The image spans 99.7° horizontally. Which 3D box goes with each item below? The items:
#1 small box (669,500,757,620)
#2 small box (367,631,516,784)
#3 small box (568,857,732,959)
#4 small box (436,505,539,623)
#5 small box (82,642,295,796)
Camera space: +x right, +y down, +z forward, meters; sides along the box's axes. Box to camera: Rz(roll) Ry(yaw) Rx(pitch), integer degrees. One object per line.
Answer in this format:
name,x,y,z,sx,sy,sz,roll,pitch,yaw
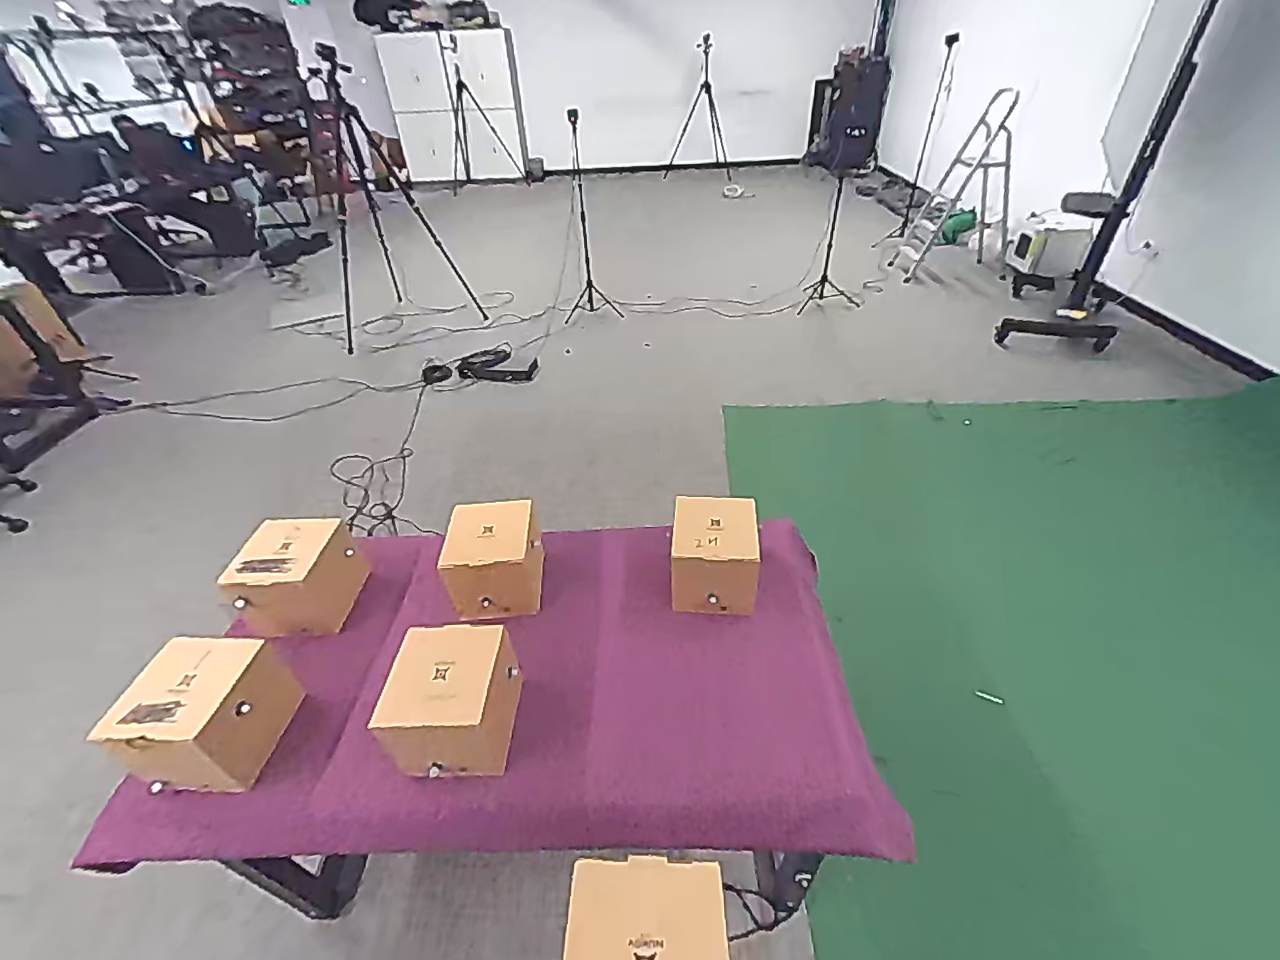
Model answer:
small box,0.147,0.162,1.111,0.168,0.176,0.179,1,40,6
small box,-0.307,0.368,0.883,0.168,0.176,0.179,-2,38,2
small box,0.010,0.541,0.573,0.168,0.176,0.179,0,28,2
small box,-0.305,0.173,1.126,0.168,0.176,0.179,-4,40,-3
small box,-0.707,0.387,0.877,0.168,0.176,0.179,1,37,3
